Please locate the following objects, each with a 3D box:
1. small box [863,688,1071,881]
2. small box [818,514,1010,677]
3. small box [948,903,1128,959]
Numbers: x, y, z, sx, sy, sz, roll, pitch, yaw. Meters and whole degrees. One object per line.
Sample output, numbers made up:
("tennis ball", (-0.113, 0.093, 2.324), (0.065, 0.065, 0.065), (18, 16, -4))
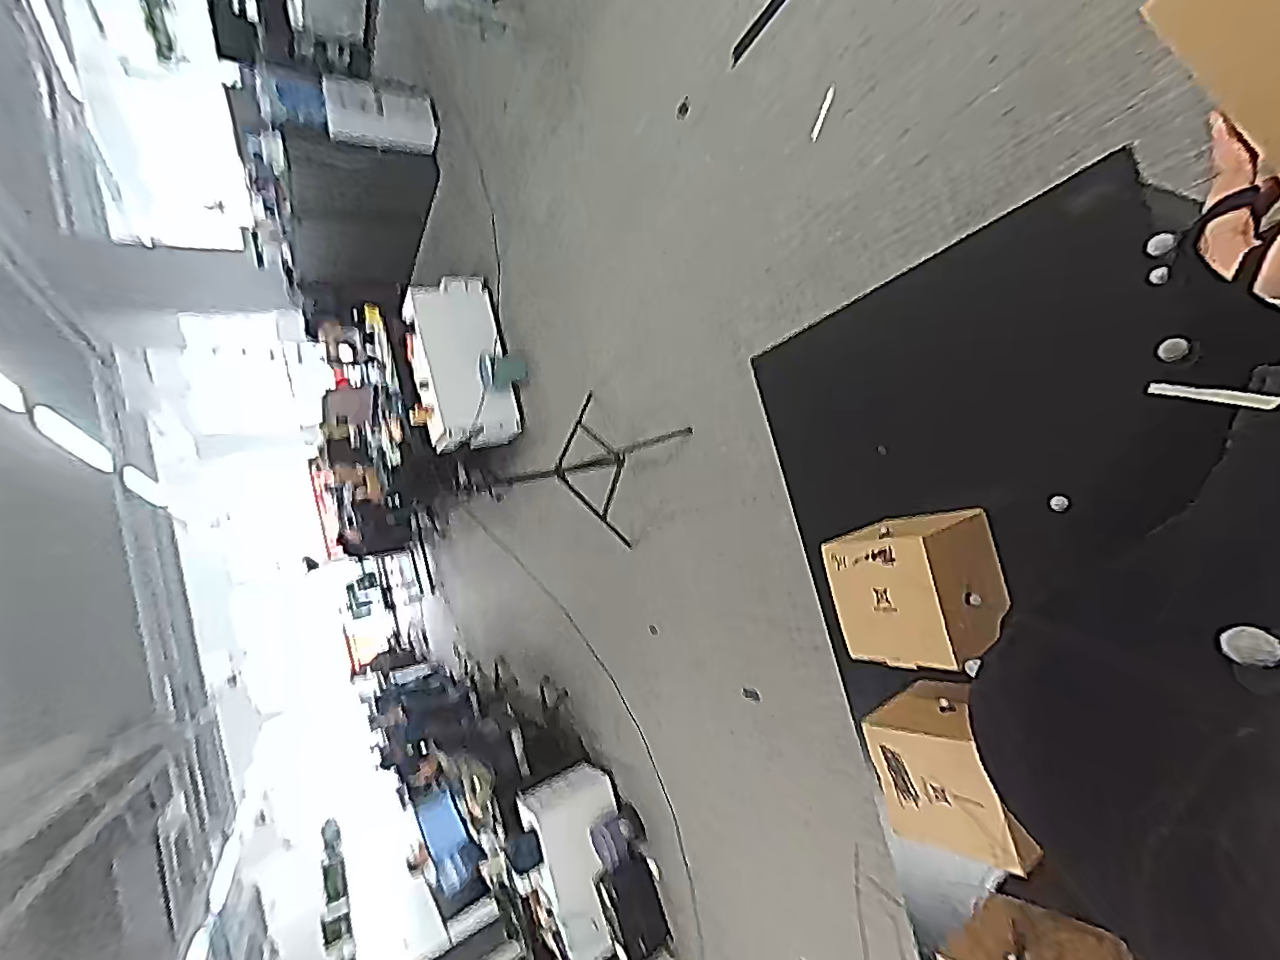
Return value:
("small box", (0.461, 0.411, 0.771), (0.179, 0.176, 0.168), (-24, 81, 56))
("small box", (0.397, 0.159, 0.784), (0.168, 0.176, 0.179), (-19, 85, 57))
("small box", (0.557, 0.727, 0.732), (0.179, 0.176, 0.168), (-29, 74, 57))
